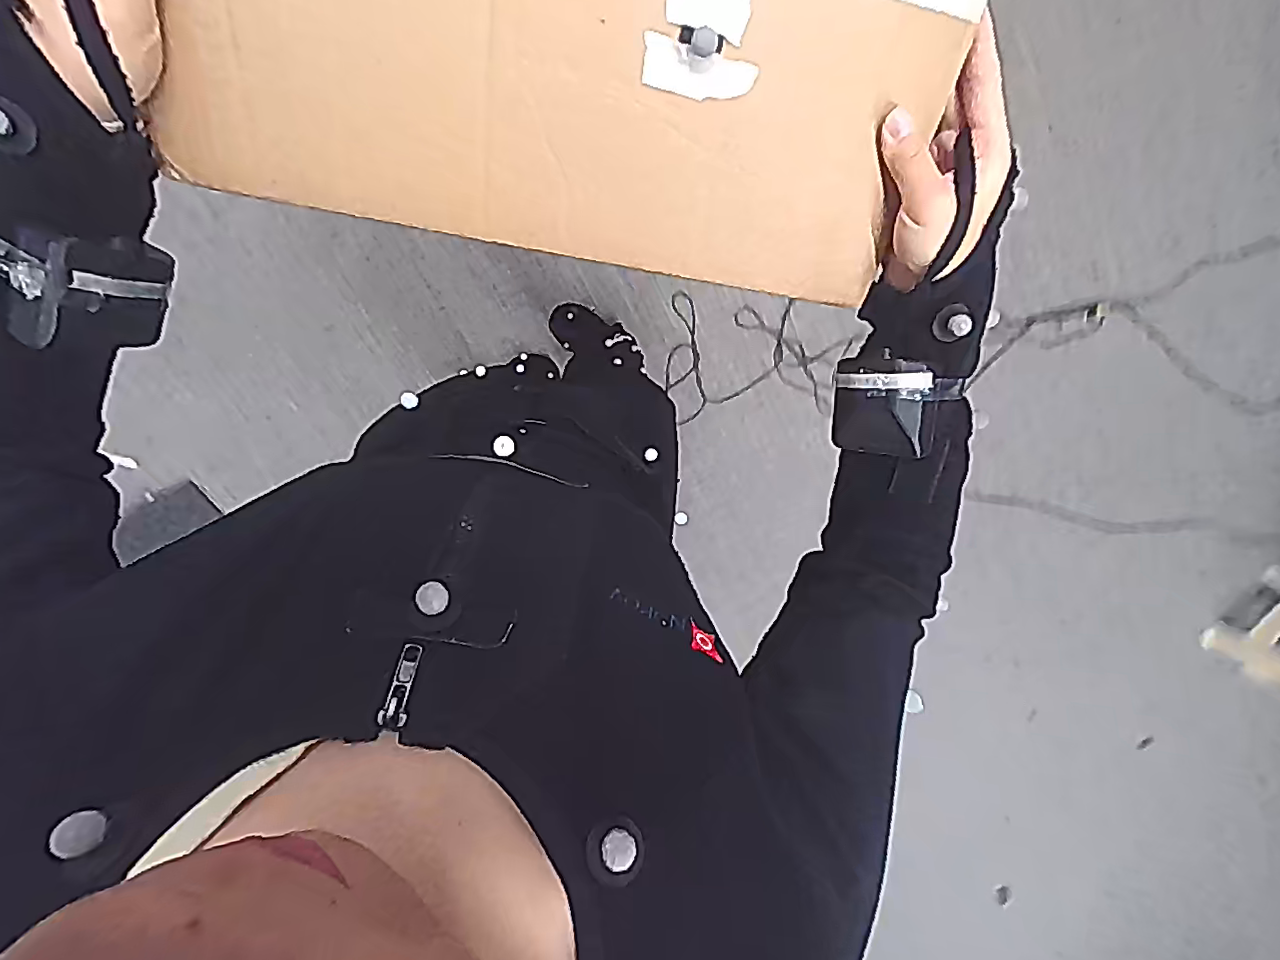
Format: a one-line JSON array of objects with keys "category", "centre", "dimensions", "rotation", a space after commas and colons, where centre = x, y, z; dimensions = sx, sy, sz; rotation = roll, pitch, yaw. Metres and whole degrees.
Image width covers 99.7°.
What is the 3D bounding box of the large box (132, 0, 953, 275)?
[{"category": "large box", "centre": [-0.045, -0.358, 0.365], "dimensions": [0.408, 0.320, 0.320], "rotation": [5, 124, -10]}]
